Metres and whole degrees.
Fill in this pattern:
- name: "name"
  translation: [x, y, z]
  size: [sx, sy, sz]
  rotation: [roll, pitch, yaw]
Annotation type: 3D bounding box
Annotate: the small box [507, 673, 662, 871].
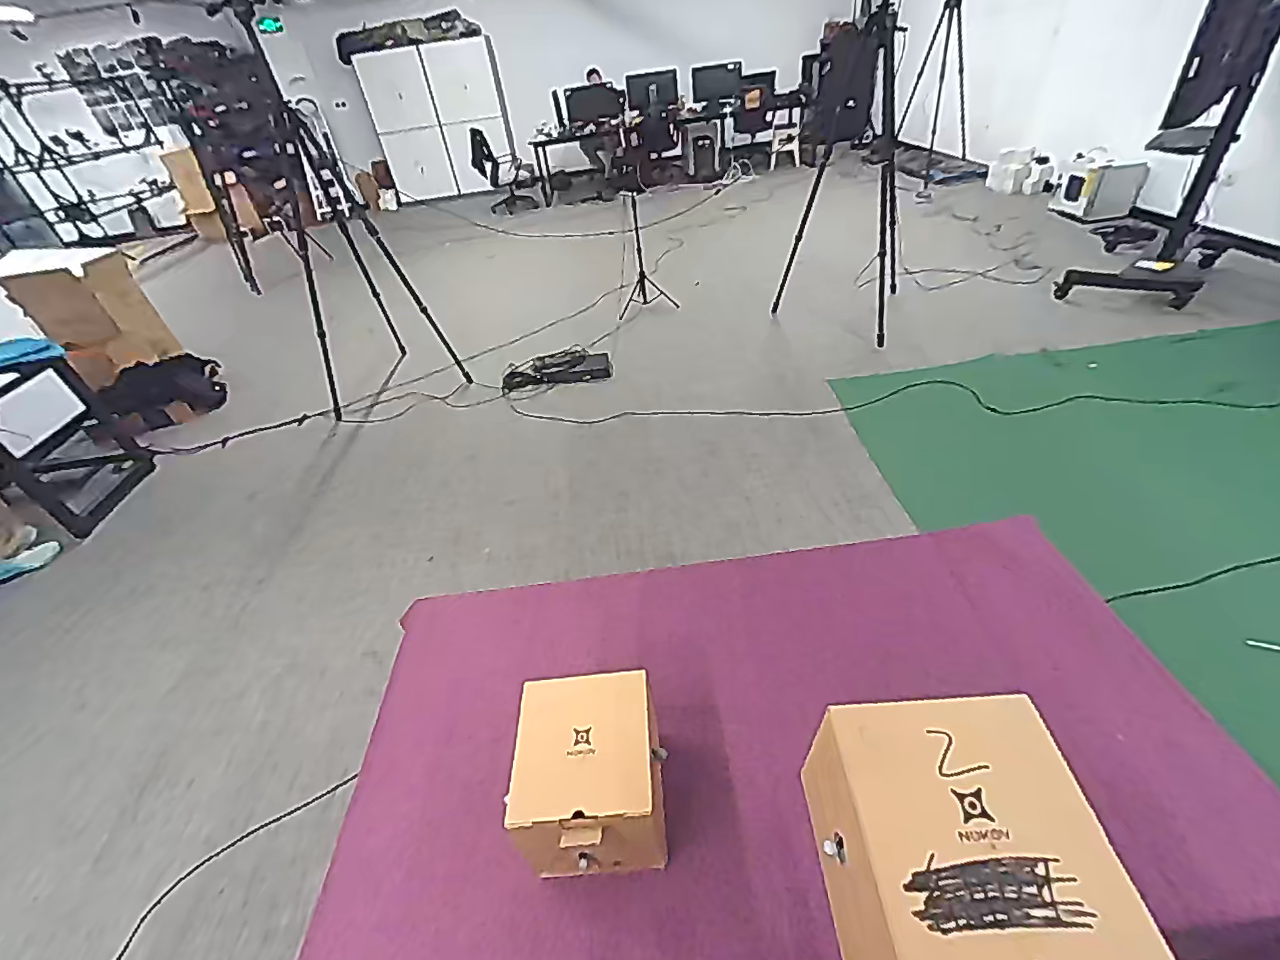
- name: "small box"
  translation: [-0.063, 0.384, 0.716]
  size: [0.168, 0.176, 0.179]
  rotation: [-7, 39, 3]
